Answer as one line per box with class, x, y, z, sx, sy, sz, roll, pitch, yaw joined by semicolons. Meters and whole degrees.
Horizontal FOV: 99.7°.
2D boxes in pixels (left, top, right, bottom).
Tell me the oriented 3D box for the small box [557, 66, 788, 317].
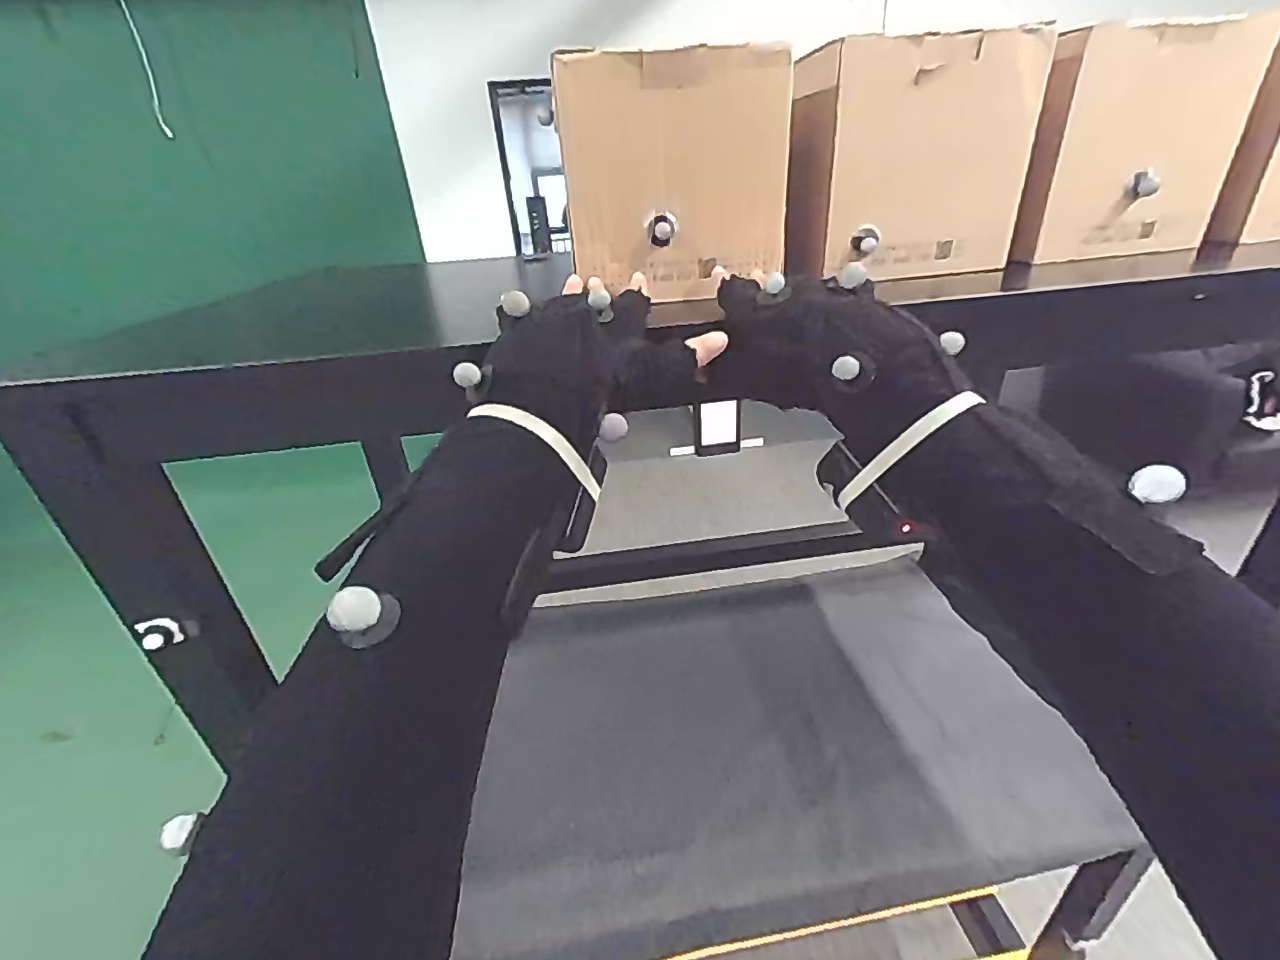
small box;0.019;-0.247;0.484;0.168;0.176;0.179;-6;28;-4
